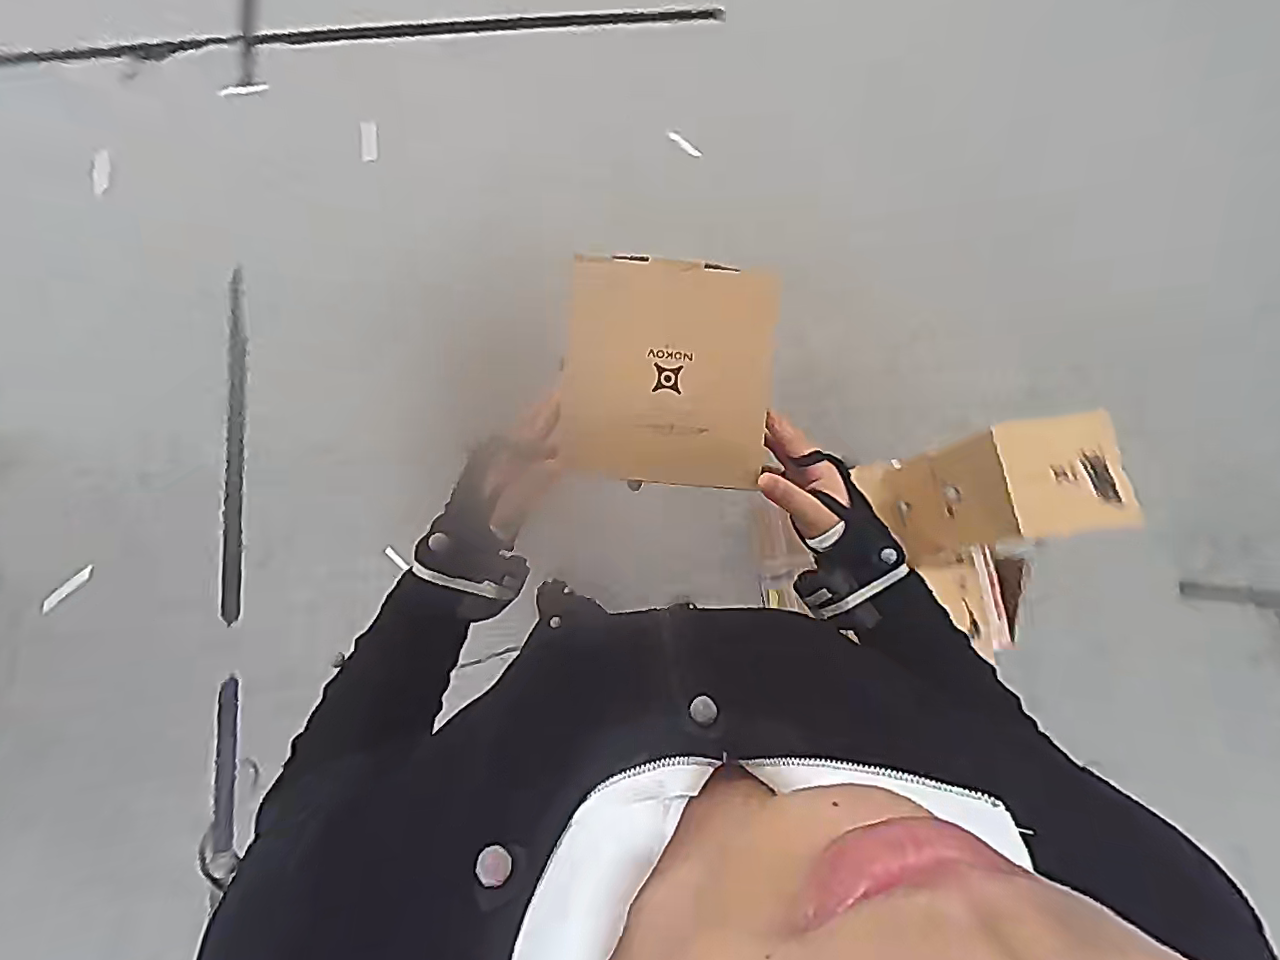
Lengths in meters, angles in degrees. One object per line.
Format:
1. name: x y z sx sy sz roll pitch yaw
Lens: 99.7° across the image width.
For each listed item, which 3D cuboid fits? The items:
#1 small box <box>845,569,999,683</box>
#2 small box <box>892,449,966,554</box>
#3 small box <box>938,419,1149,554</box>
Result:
1. small box: 0.475 0.250 0.946 0.179 0.176 0.168 -6 80 -1
2. small box: 0.600 0.037 0.991 0.179 0.176 0.168 -10 77 -2
3. small box: 0.598 0.017 0.827 0.179 0.176 0.168 -7 77 -1
